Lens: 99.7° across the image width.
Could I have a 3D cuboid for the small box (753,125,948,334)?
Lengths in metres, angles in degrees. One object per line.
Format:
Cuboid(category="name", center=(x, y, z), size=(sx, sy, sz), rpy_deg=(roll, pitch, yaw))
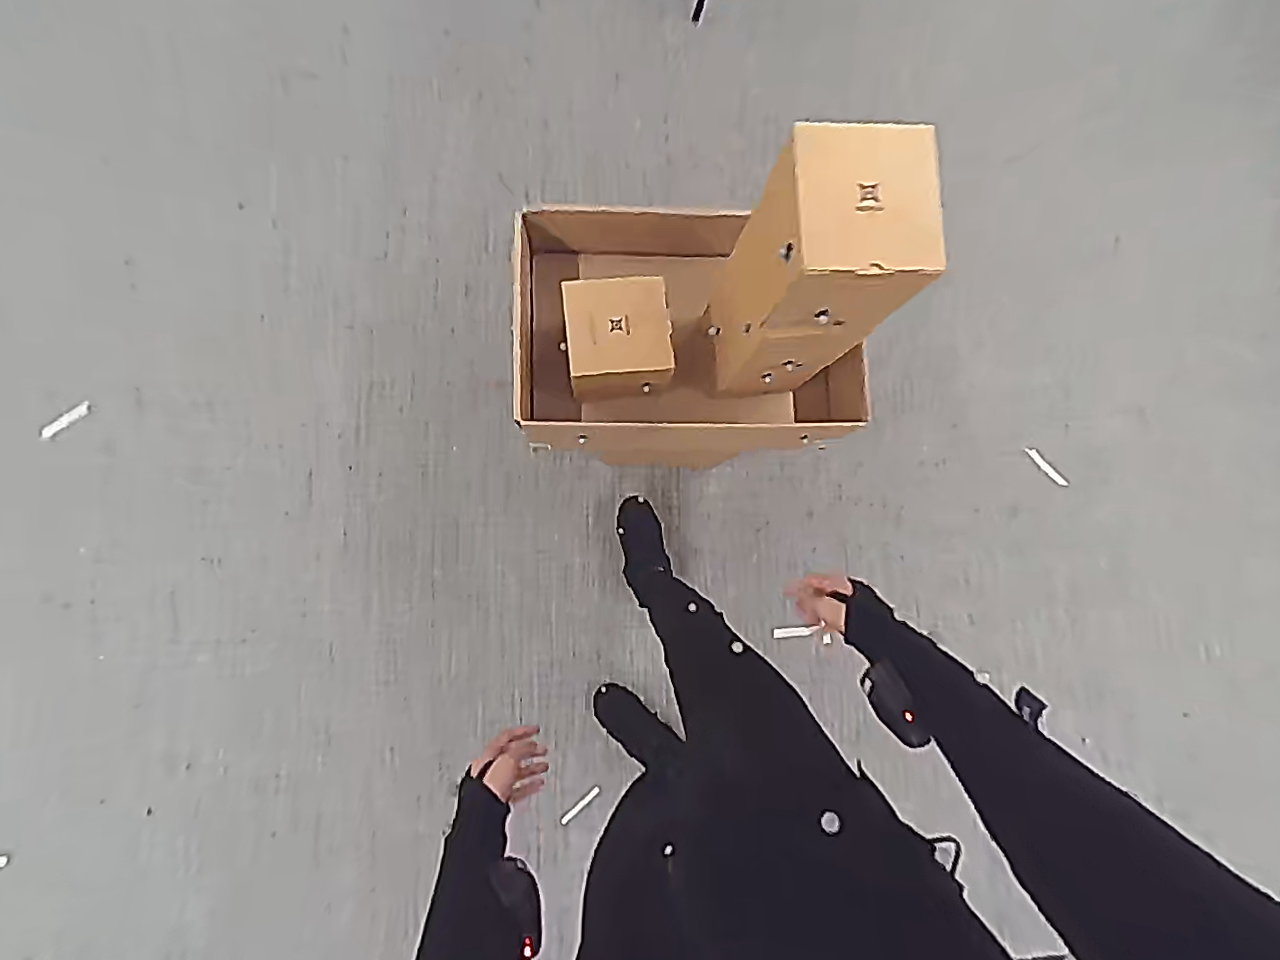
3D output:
Cuboid(category="small box", center=(0.244, -0.296, 0.669), size=(0.168, 0.176, 0.179), rpy_deg=(-2, 85, -5))
